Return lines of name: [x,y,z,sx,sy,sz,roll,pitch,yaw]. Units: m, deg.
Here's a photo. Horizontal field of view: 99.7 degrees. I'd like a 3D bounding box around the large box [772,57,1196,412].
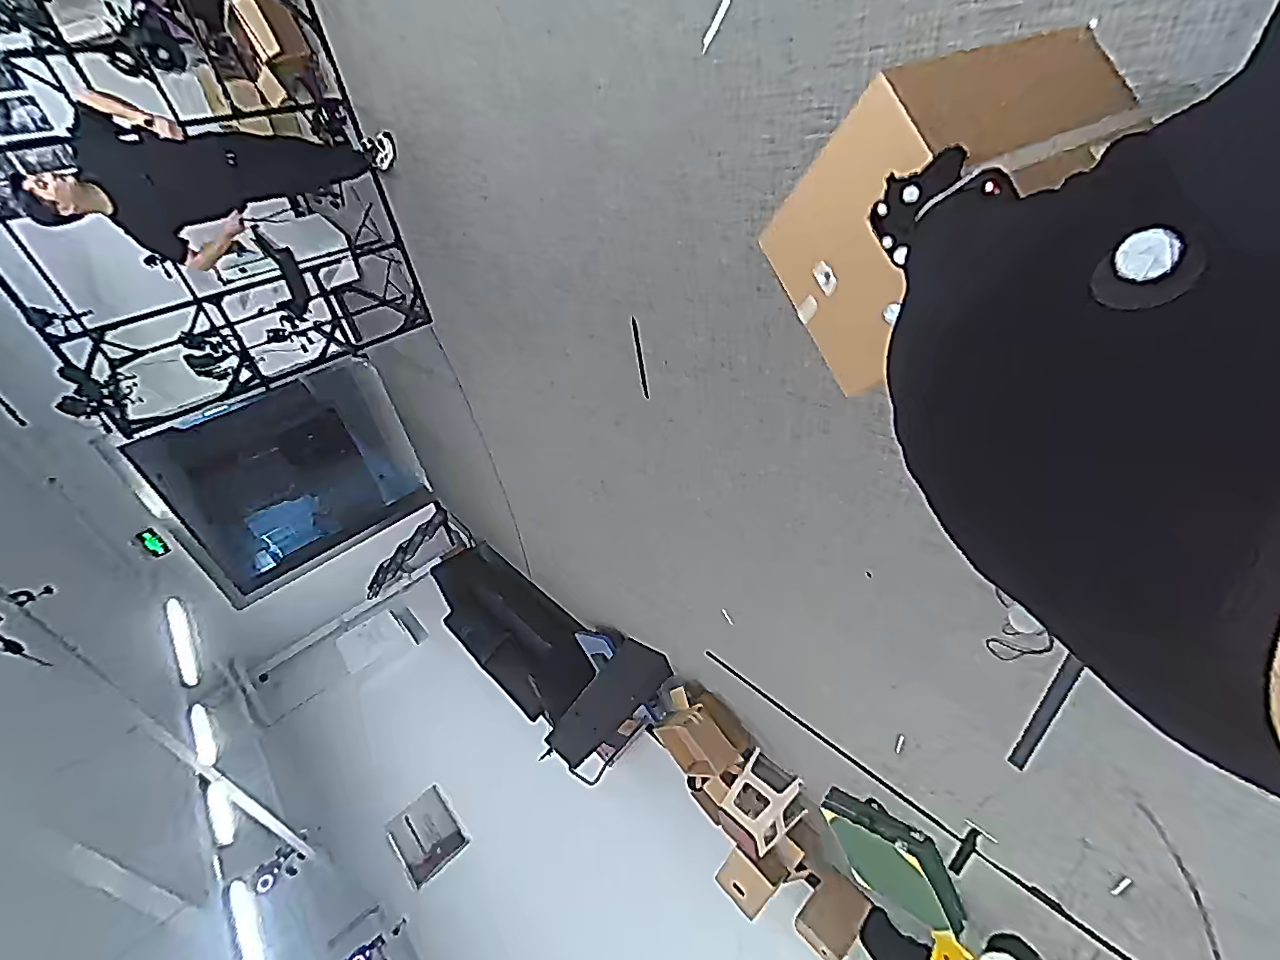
large box: [0.492,-0.357,0.832,0.320,0.408,0.320,63,160,6]
